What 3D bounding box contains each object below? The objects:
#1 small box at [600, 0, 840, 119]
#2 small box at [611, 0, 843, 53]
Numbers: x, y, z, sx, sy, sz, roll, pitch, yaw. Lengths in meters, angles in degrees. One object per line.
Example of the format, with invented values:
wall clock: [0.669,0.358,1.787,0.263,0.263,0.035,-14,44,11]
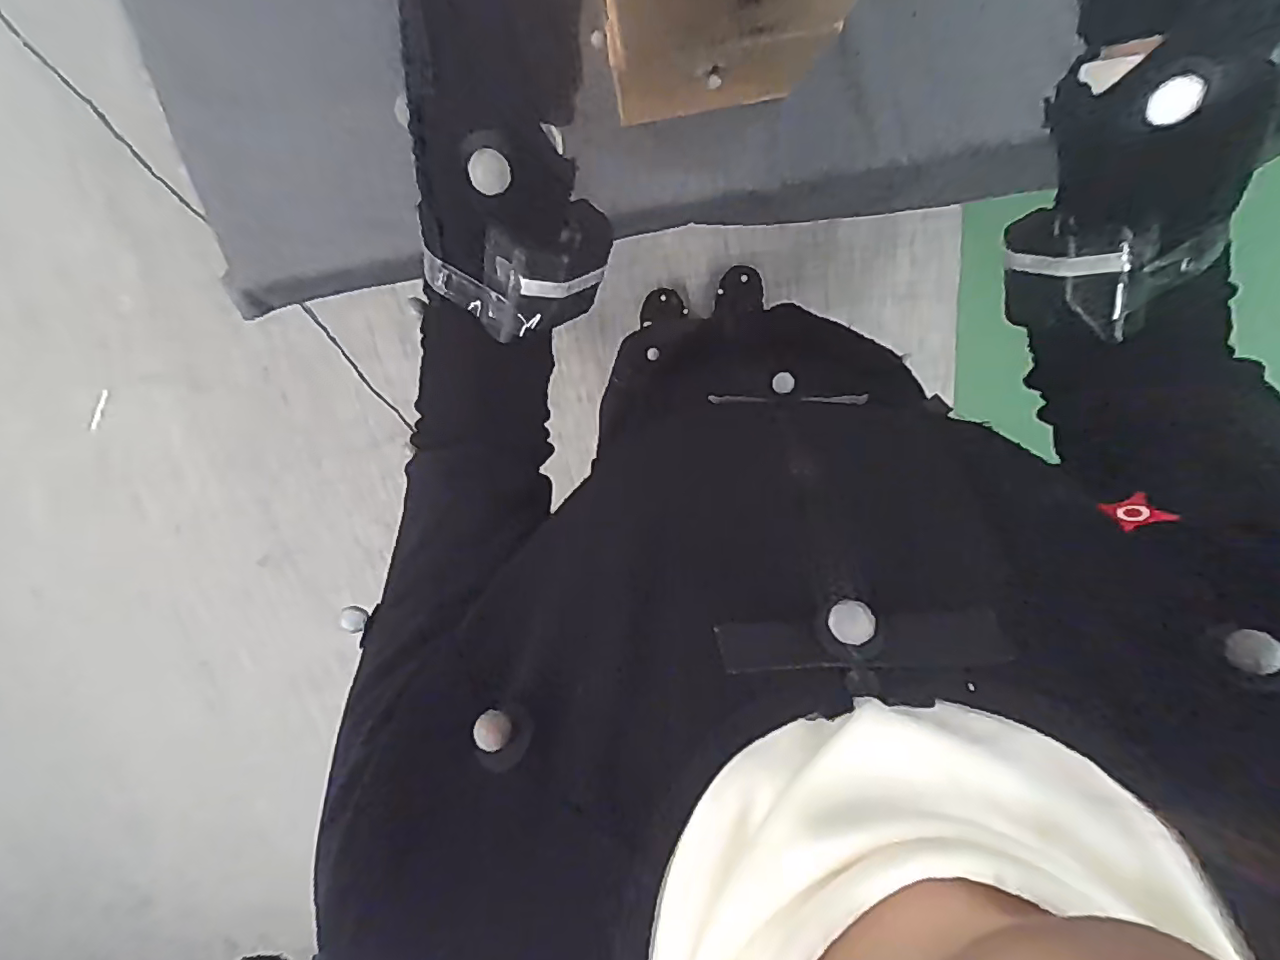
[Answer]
small box: [0.053,-0.428,0.453,0.179,0.176,0.168,-8,111,3]
small box: [0.051,-0.373,0.299,0.168,0.176,0.179,-9,111,5]
